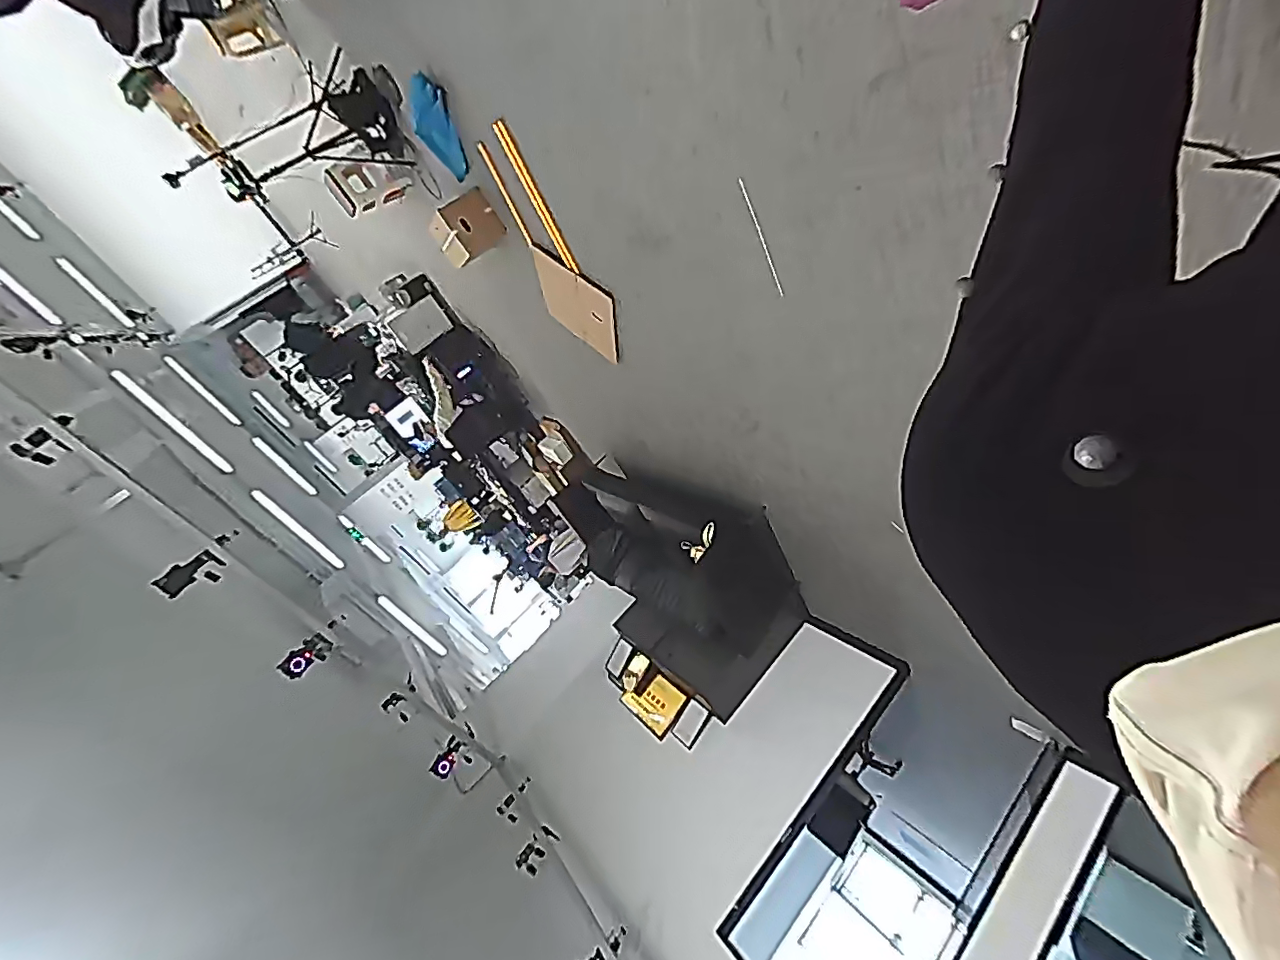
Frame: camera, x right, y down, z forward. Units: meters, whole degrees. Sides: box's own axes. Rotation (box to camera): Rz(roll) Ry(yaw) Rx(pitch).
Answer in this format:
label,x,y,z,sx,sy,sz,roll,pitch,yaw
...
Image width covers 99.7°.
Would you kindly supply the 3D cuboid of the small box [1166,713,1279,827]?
label,x,y,z,sx,sy,sz,roll,pitch,yaw
small box,1.511,0.739,1.391,0.168,0.176,0.179,27,155,47
